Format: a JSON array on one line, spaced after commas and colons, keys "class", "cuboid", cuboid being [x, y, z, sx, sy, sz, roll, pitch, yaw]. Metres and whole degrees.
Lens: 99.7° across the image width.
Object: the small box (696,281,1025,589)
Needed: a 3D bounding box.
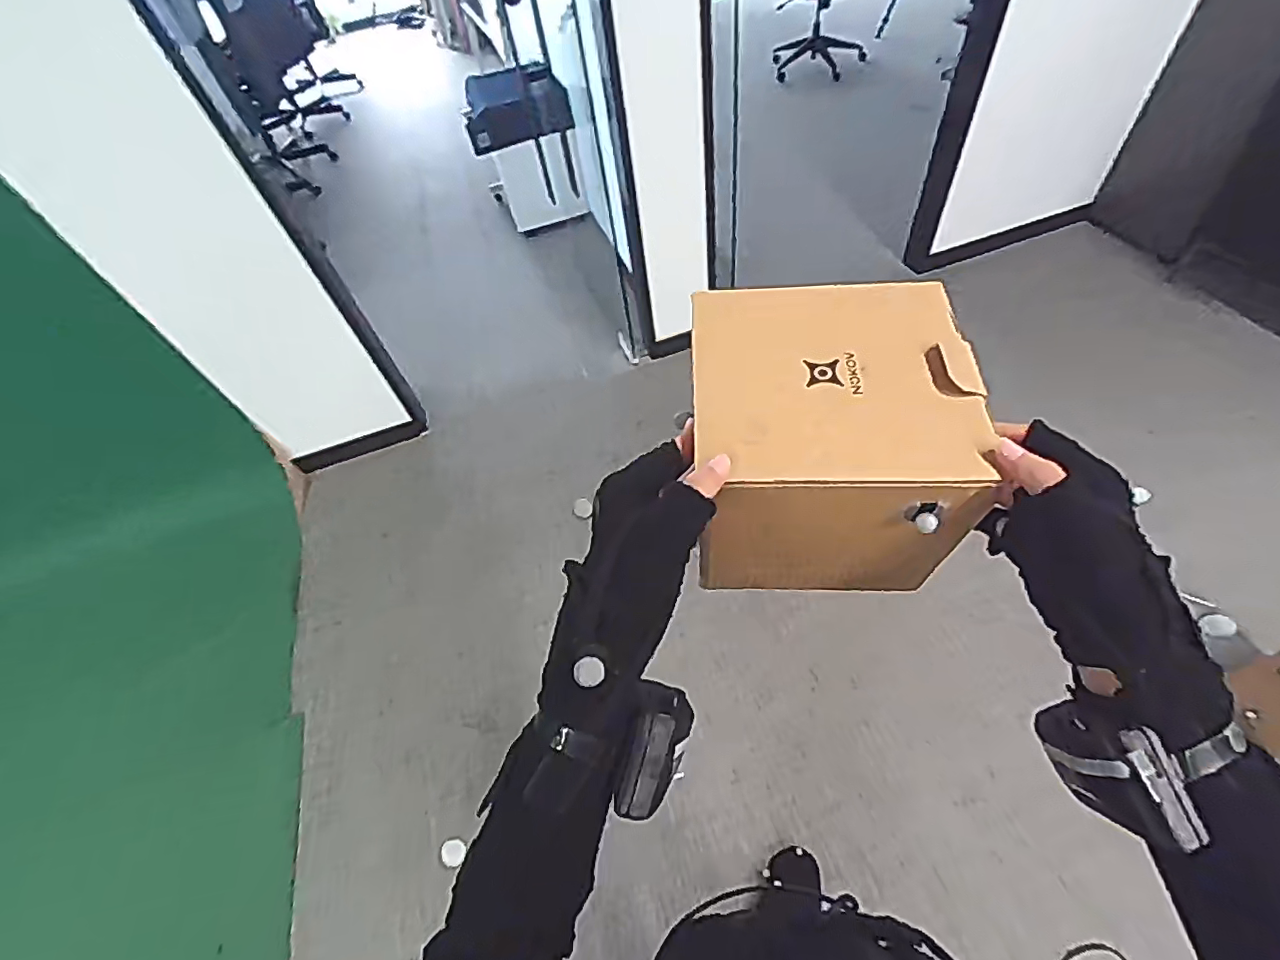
[{"class": "small box", "cuboid": [0.131, -0.024, 0.405, 0.179, 0.176, 0.168, 0, 58, 5]}]
